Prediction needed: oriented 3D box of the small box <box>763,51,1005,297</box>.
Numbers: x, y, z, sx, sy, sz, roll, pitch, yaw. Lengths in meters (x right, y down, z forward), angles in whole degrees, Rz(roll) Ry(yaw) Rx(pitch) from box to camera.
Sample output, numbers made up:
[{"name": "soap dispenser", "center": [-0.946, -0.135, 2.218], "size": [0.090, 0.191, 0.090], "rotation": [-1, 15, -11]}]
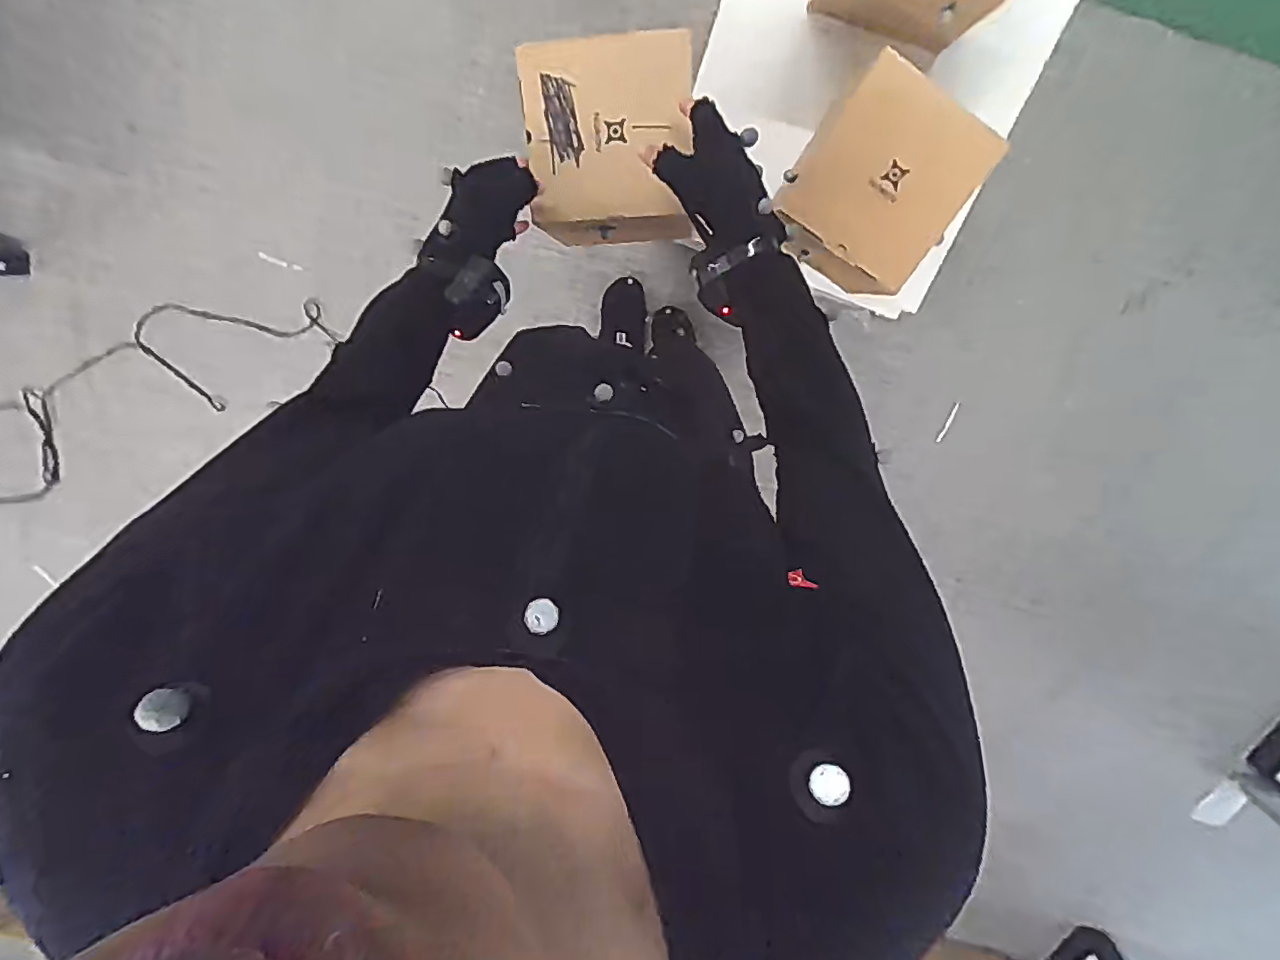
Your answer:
[{"name": "small box", "center": [0.266, -0.342, 0.643], "size": [0.168, 0.176, 0.179], "rotation": [31, 109, -8]}]
